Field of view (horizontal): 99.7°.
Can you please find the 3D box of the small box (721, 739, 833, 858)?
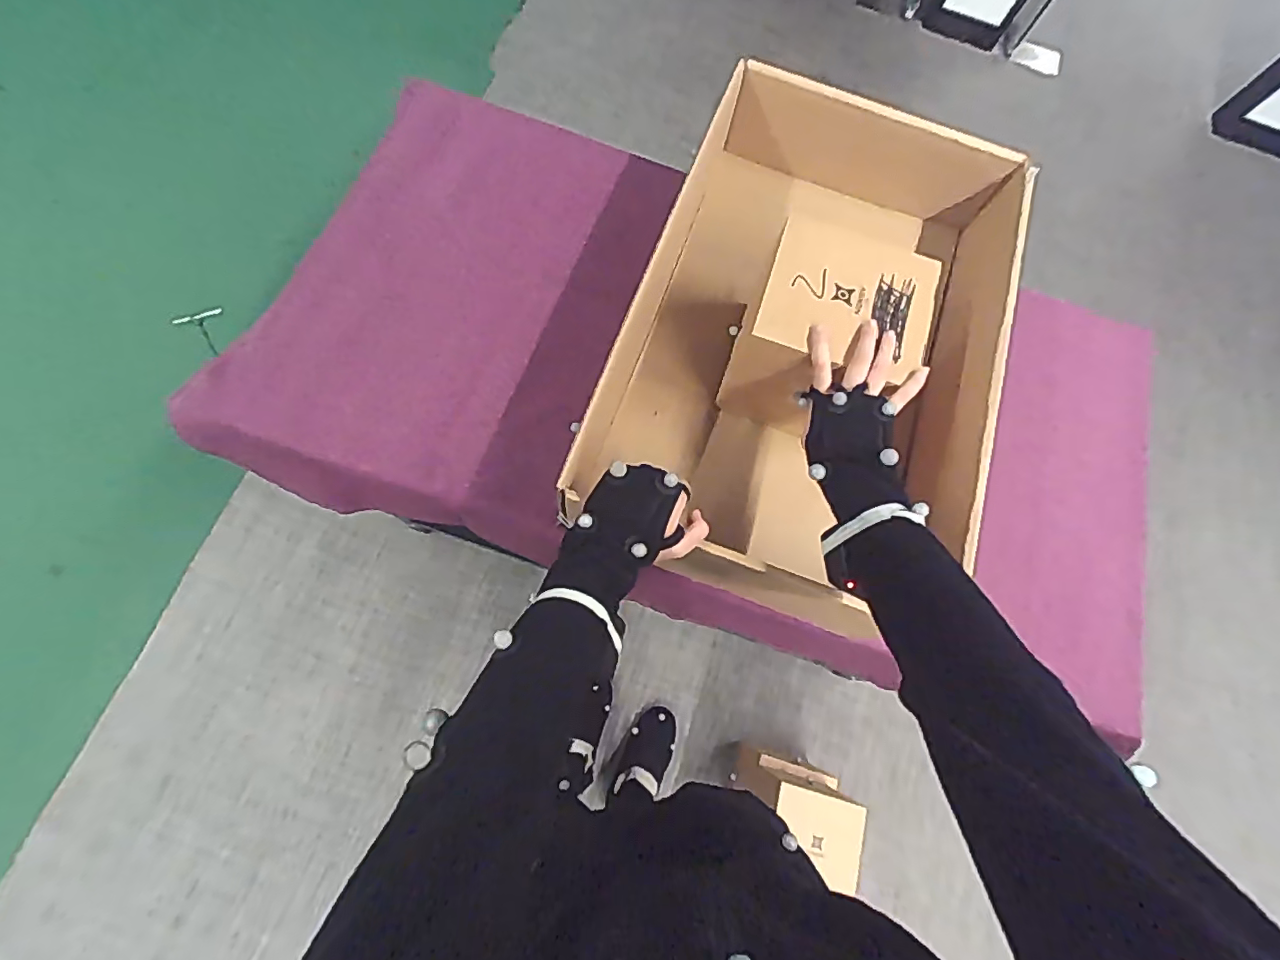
[{"bbox_3d":[0.299,0.697,1.206,0.179,0.176,0.168,18,73,0],"label":"small box"}]
